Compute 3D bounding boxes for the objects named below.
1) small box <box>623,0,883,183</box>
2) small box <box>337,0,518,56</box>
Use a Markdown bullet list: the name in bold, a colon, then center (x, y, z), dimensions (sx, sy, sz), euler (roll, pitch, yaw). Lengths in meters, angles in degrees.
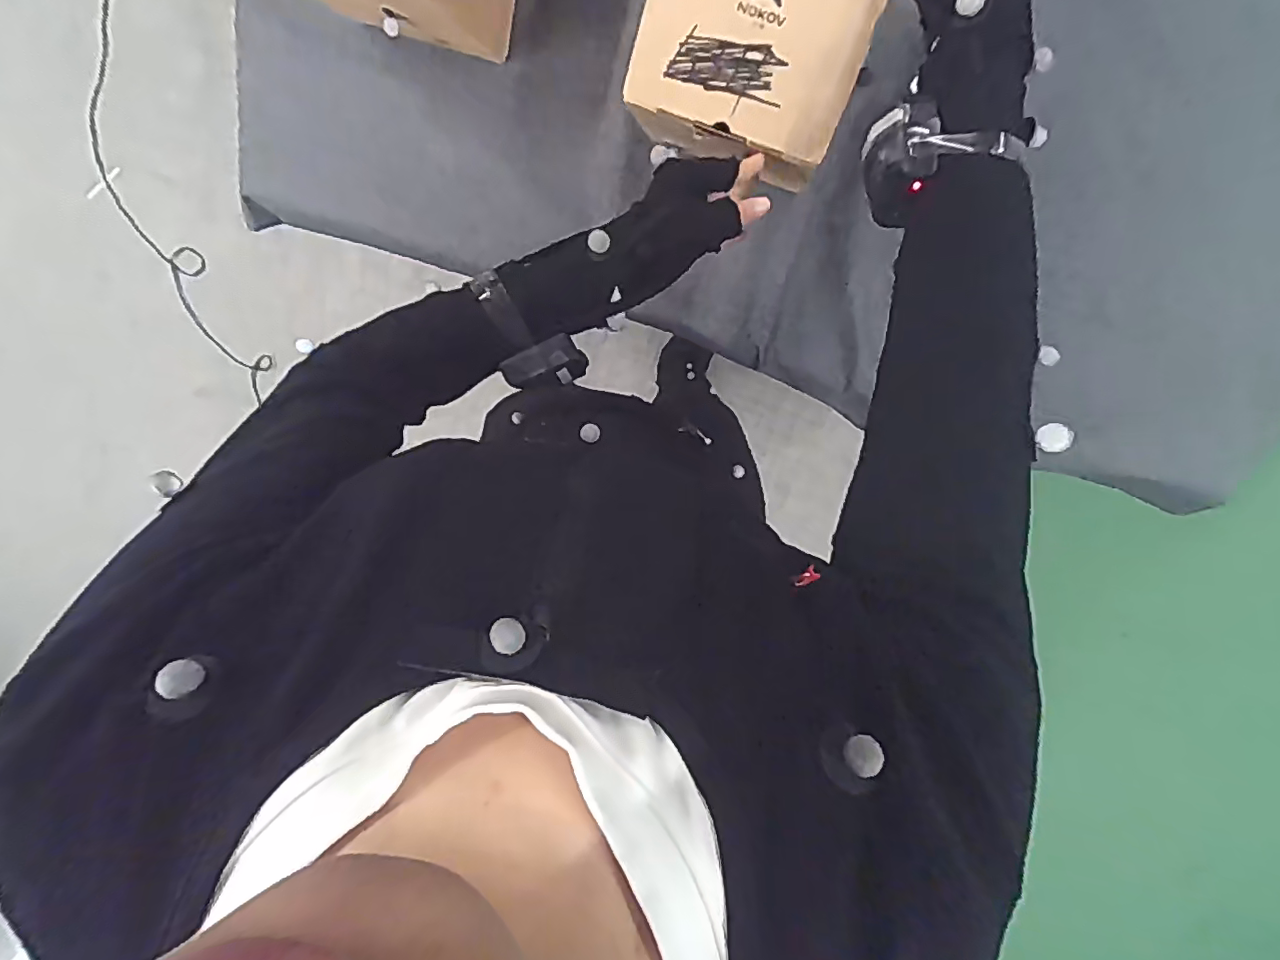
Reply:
- **small box**: center (0.101, -0.375, 0.458), dimensions (0.168, 0.176, 0.179), euler (21, 114, 2)
- **small box**: center (-0.204, -0.502, 0.460), dimensions (0.168, 0.176, 0.179), euler (17, 115, 2)
